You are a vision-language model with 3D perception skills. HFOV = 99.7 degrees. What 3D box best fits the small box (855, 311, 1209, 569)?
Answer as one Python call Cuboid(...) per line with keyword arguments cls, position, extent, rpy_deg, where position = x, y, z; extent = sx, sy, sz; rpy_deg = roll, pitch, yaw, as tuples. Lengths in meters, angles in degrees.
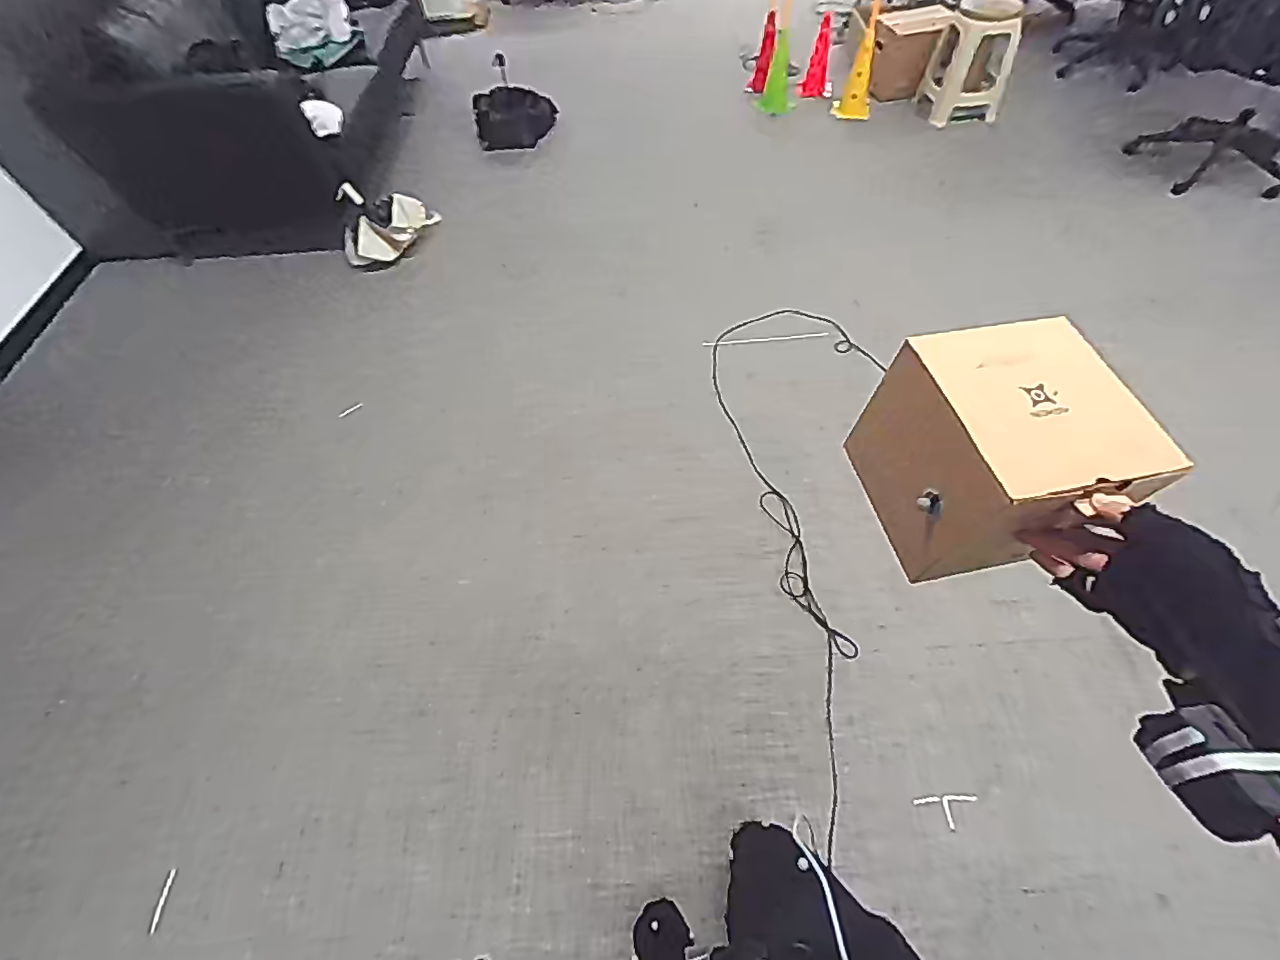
Cuboid(cls="small box", position=(0.334, -0.028, 0.509), extent=(0.168, 0.176, 0.179), rpy_deg=(-9, 58, -7))
